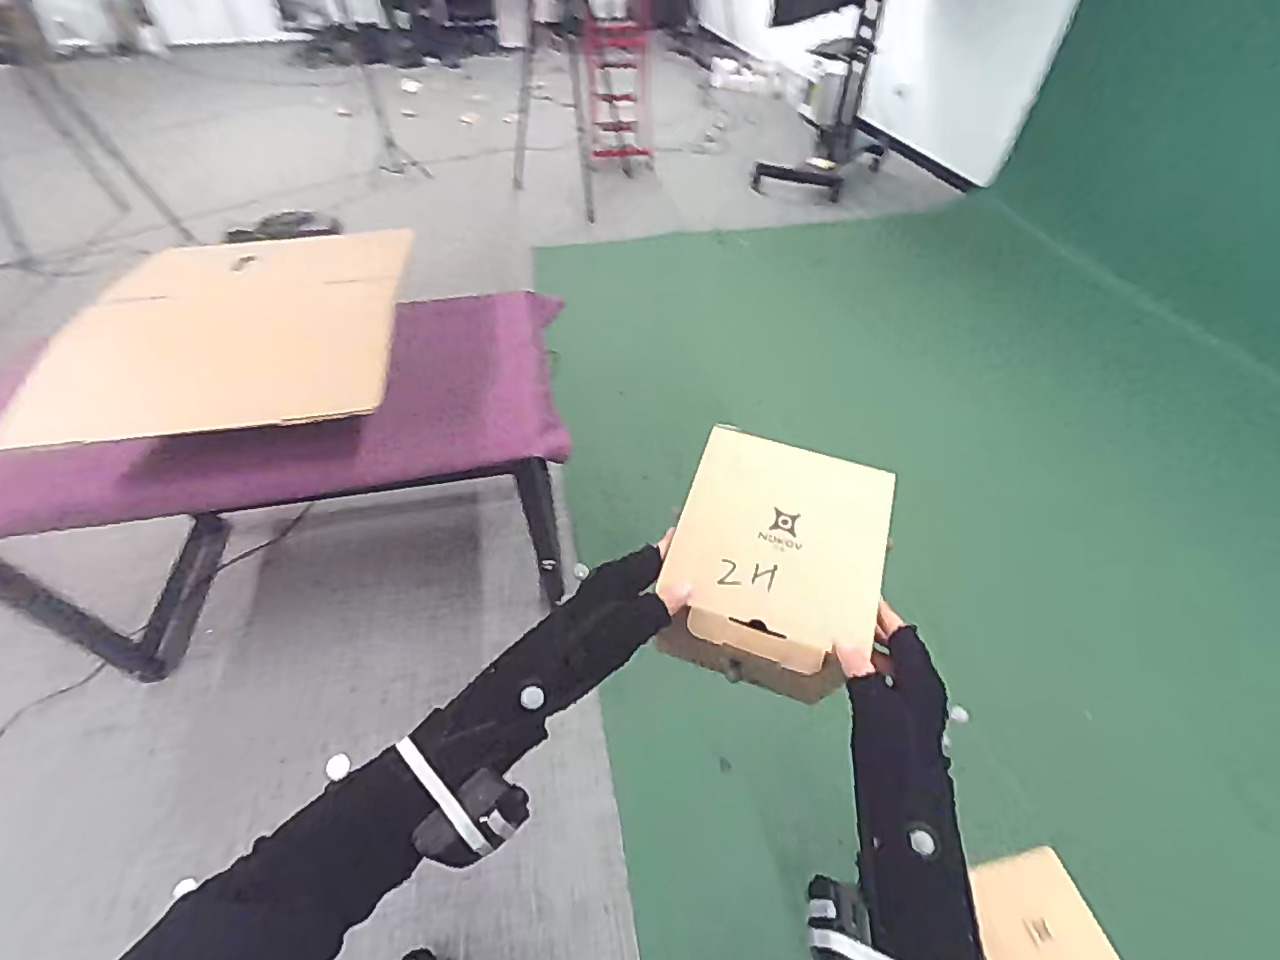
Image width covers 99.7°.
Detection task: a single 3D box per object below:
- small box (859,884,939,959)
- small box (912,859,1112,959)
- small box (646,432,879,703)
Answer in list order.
[{"bbox_3d":[0.549,0.909,1.054,0.179,0.176,0.168,-7,49,-6],"label":"small box"},{"bbox_3d":[0.551,0.692,0.809,0.179,0.176,0.168,-9,49,-8],"label":"small box"},{"bbox_3d":[0.108,0.088,0.518,0.168,0.176,0.179,16,60,12],"label":"small box"}]
